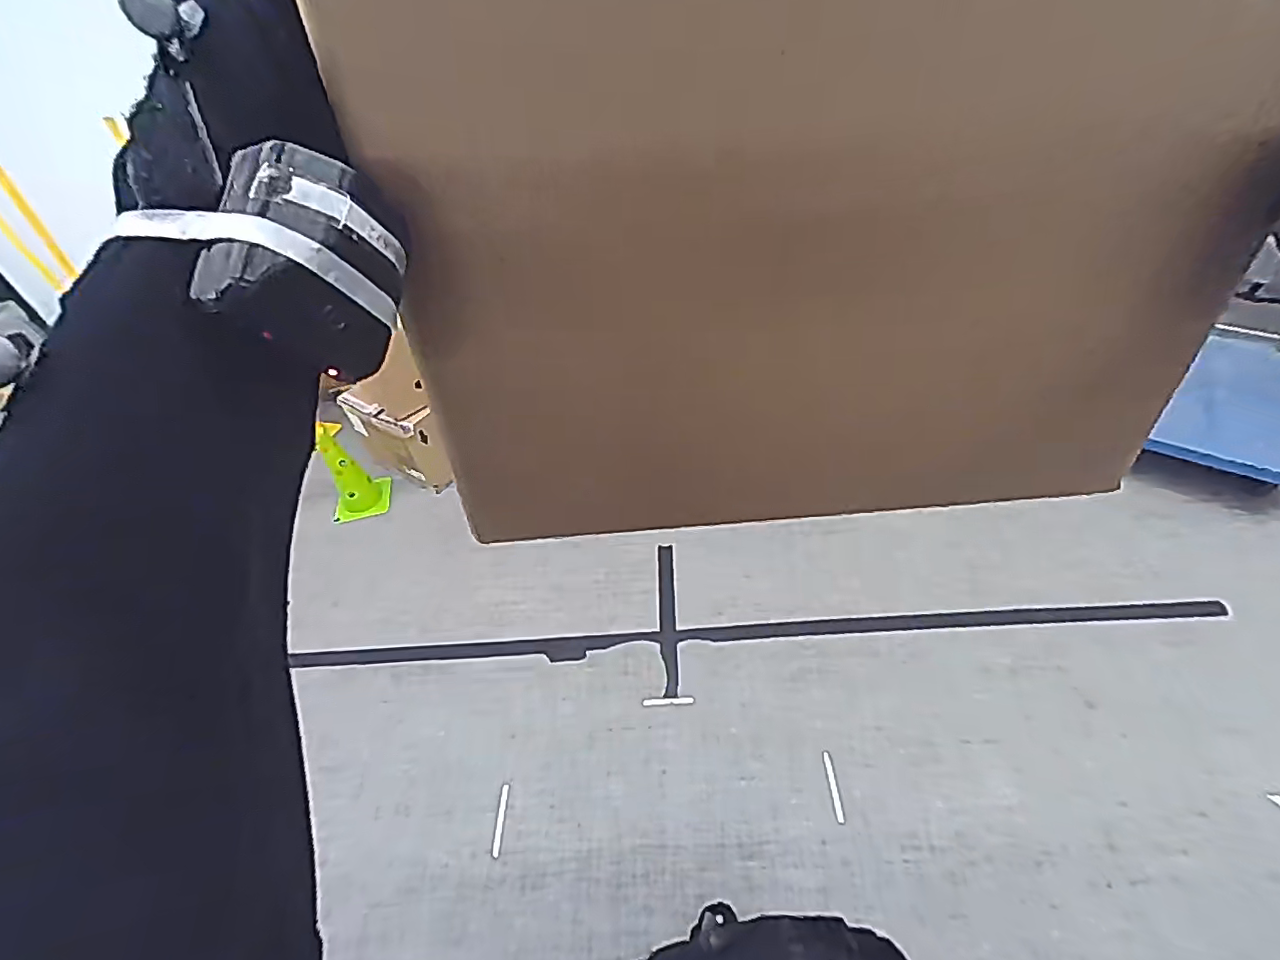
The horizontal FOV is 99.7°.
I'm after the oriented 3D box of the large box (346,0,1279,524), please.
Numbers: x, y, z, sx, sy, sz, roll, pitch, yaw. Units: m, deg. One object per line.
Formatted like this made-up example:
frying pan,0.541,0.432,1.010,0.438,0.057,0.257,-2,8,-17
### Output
large box,0.079,-0.193,0.381,0.408,0.320,0.320,-5,37,-2
